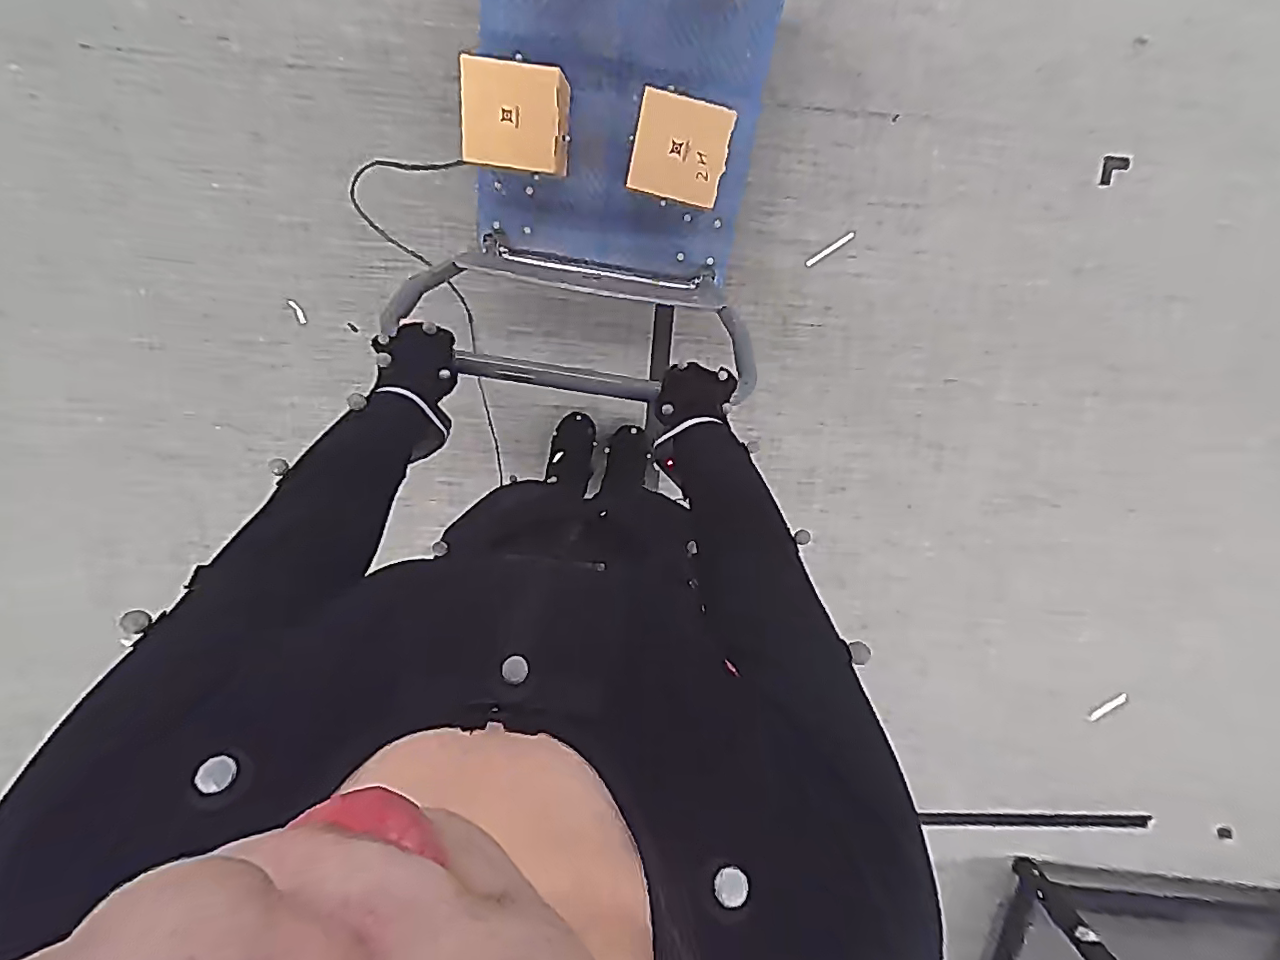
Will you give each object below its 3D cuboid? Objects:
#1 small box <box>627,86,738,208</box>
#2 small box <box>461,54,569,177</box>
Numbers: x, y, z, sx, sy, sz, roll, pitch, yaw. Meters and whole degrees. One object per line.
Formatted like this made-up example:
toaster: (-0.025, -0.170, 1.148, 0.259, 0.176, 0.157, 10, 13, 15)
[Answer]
small box: (0.077, -0.649, 1.074, 0.179, 0.176, 0.168, 12, 116, -6)
small box: (-0.237, -0.695, 1.051, 0.179, 0.176, 0.168, 5, 116, -5)
